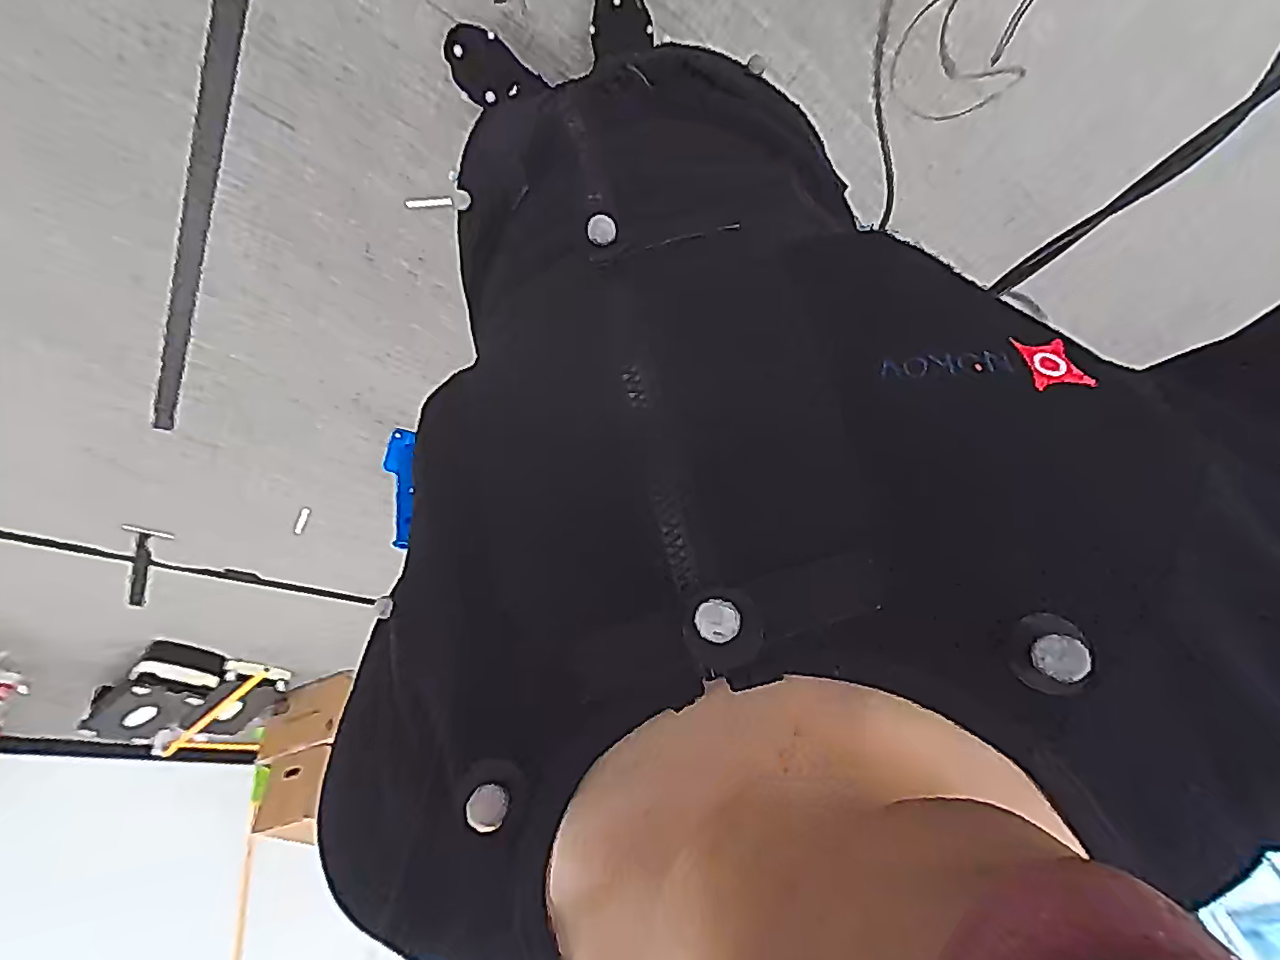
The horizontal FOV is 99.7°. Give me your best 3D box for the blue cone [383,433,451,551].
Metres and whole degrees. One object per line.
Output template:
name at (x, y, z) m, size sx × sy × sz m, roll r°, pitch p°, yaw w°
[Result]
blue cone at (-0.699, 0.053, 1.635) m, size 0.192 × 0.380 × 0.193 m, roll 17°, pitch 131°, yaw -26°
